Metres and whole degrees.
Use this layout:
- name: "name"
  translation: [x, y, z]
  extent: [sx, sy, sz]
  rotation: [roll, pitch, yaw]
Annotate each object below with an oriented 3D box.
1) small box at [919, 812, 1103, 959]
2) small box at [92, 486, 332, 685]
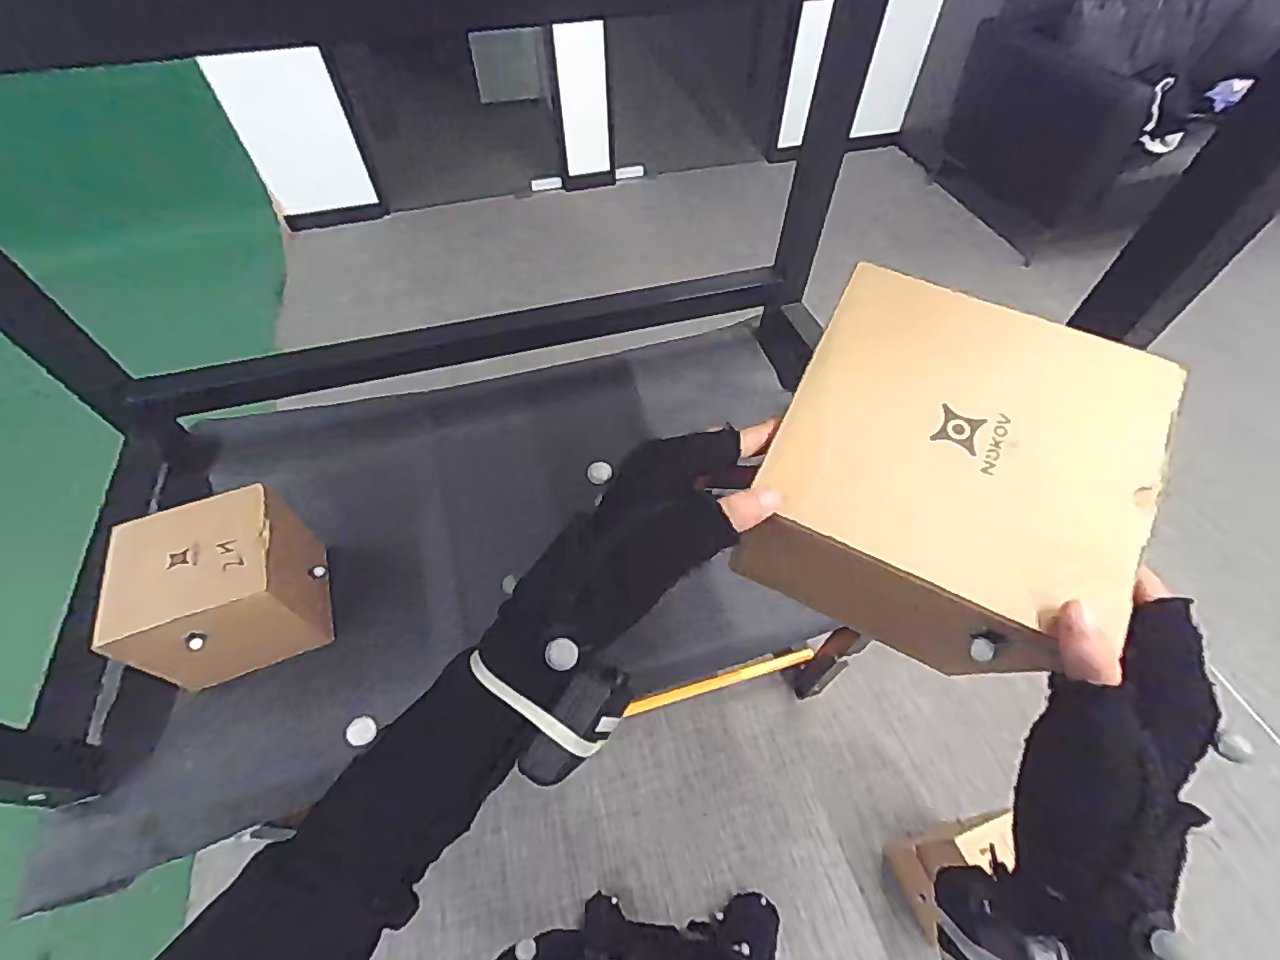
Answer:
- name: "small box"
  translation: [0.643, 0.724, 0.964]
  extent: [0.168, 0.176, 0.179]
  rotation: [-15, 54, -11]
- name: "small box"
  translation: [-0.530, 0.140, 0.699]
  extent: [0.179, 0.176, 0.168]
  rotation: [-18, 56, -13]
